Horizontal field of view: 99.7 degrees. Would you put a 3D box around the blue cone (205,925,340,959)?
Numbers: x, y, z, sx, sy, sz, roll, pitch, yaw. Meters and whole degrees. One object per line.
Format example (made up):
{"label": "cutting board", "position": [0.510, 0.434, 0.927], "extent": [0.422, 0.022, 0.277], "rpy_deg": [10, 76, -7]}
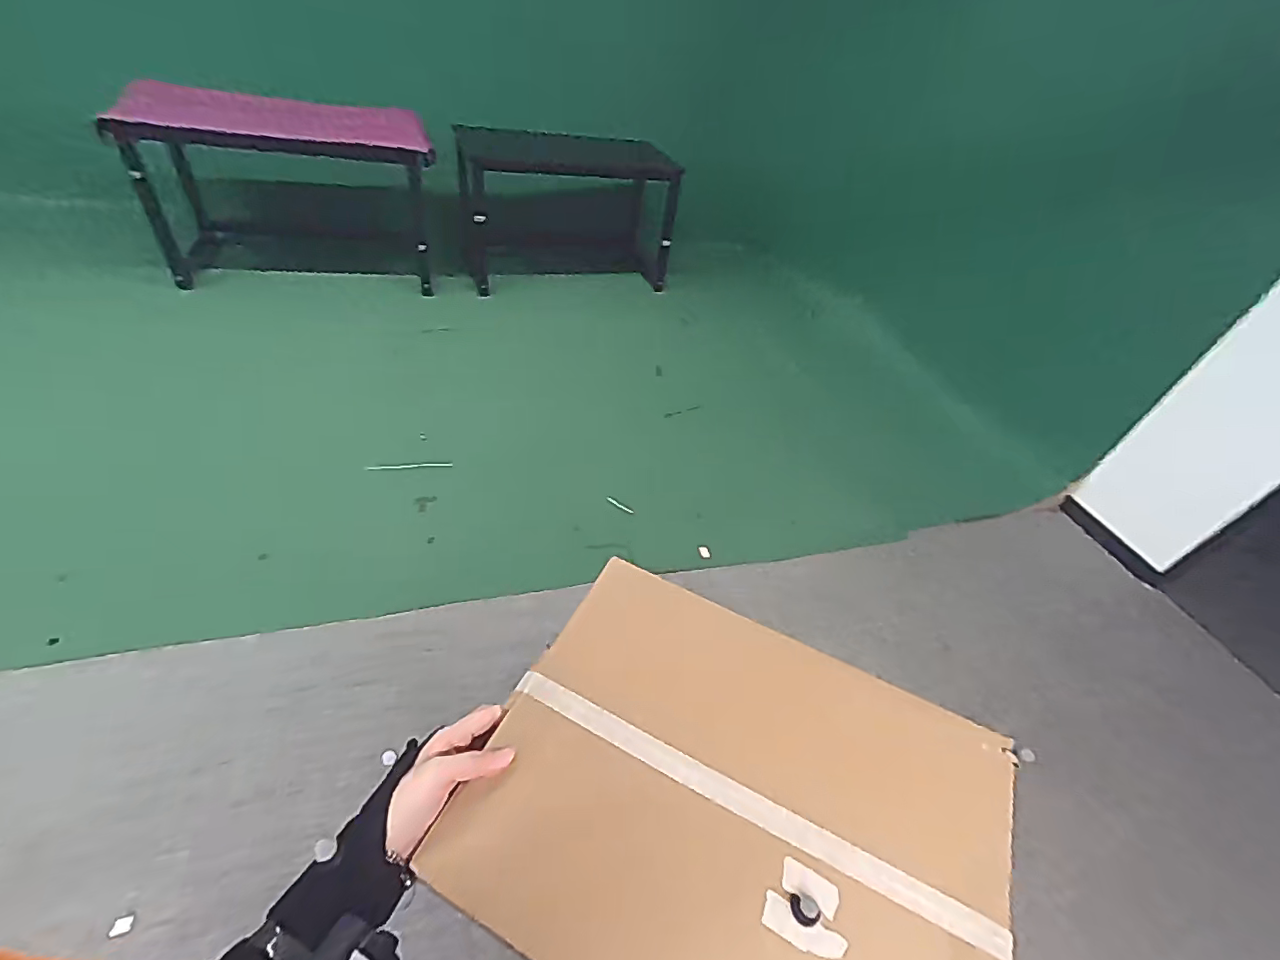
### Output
{"label": "blue cone", "position": [-0.663, 0.859, 0.920], "extent": [0.193, 0.380, 0.192], "rpy_deg": [2, 43, -12]}

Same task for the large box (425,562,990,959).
{"label": "large box", "position": [0.066, 0.355, 0.559], "extent": [0.408, 0.320, 0.320], "rpy_deg": [23, 50, 15]}
